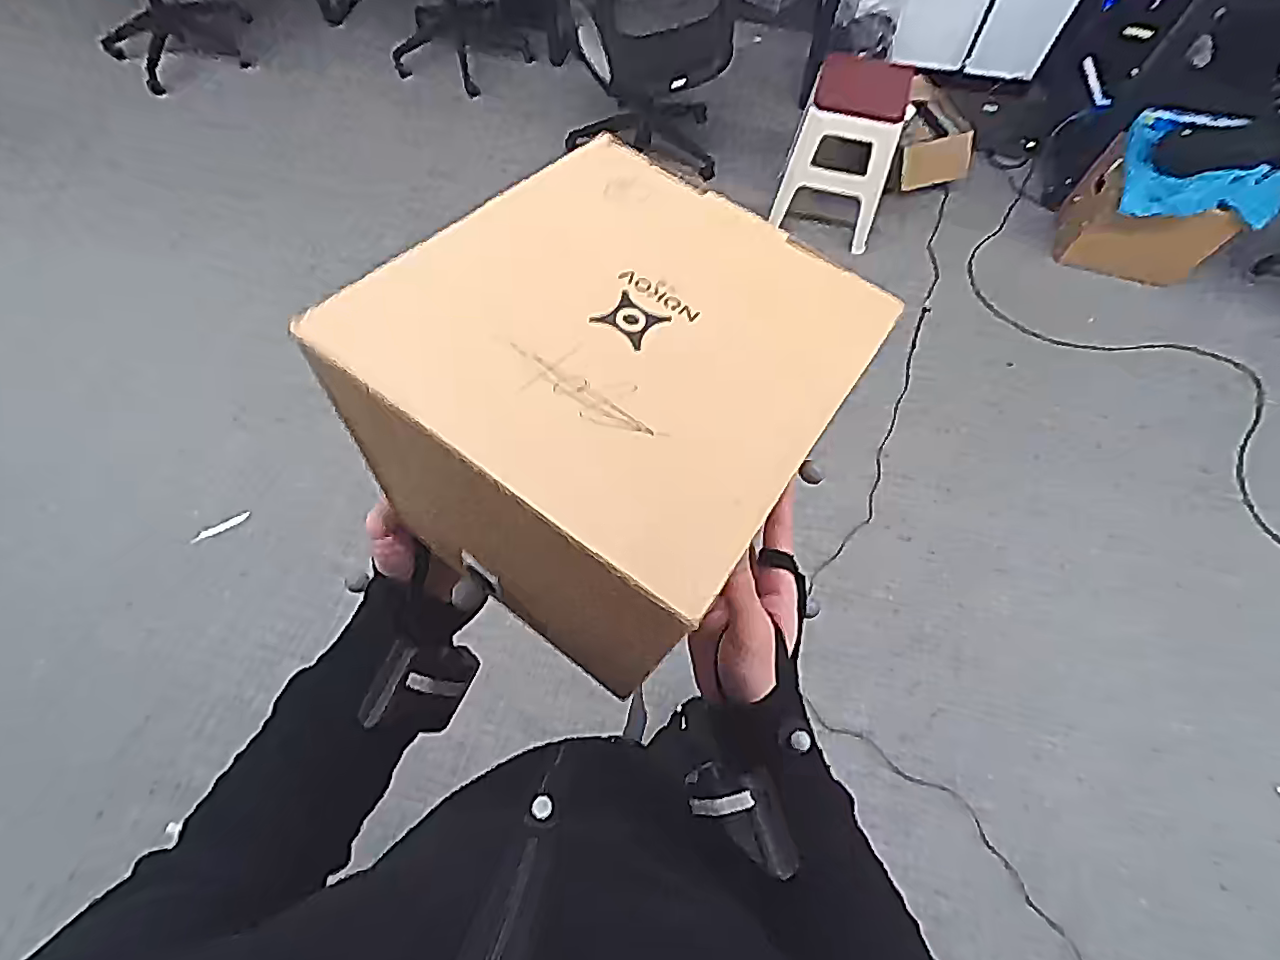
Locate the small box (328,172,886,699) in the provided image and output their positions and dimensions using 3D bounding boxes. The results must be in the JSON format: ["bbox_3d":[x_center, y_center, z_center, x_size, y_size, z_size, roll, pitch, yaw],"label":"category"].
[{"bbox_3d":[-0.012,-0.014,0.286,0.168,0.176,0.179,33,61,11],"label":"small box"}]
